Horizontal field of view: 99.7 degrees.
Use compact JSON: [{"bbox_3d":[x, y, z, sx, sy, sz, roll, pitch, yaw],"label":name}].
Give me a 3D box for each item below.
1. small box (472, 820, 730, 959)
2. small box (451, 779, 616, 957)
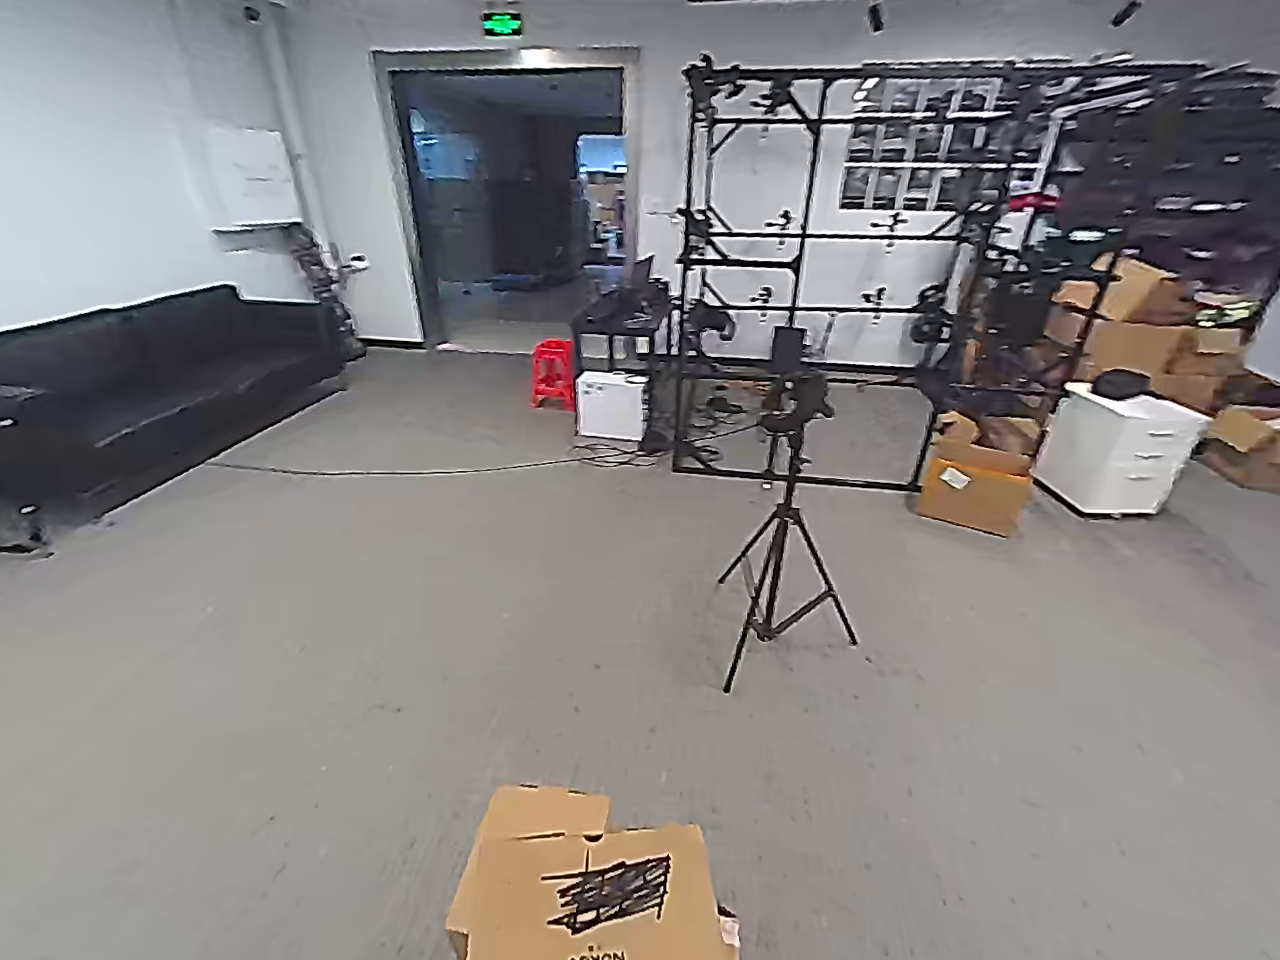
[{"bbox_3d":[-0.029,0.374,0.373,0.168,0.176,0.179,0,31,-7],"label":"small box"},{"bbox_3d":[-0.125,0.540,0.721,0.168,0.176,0.179,2,31,8],"label":"small box"}]
